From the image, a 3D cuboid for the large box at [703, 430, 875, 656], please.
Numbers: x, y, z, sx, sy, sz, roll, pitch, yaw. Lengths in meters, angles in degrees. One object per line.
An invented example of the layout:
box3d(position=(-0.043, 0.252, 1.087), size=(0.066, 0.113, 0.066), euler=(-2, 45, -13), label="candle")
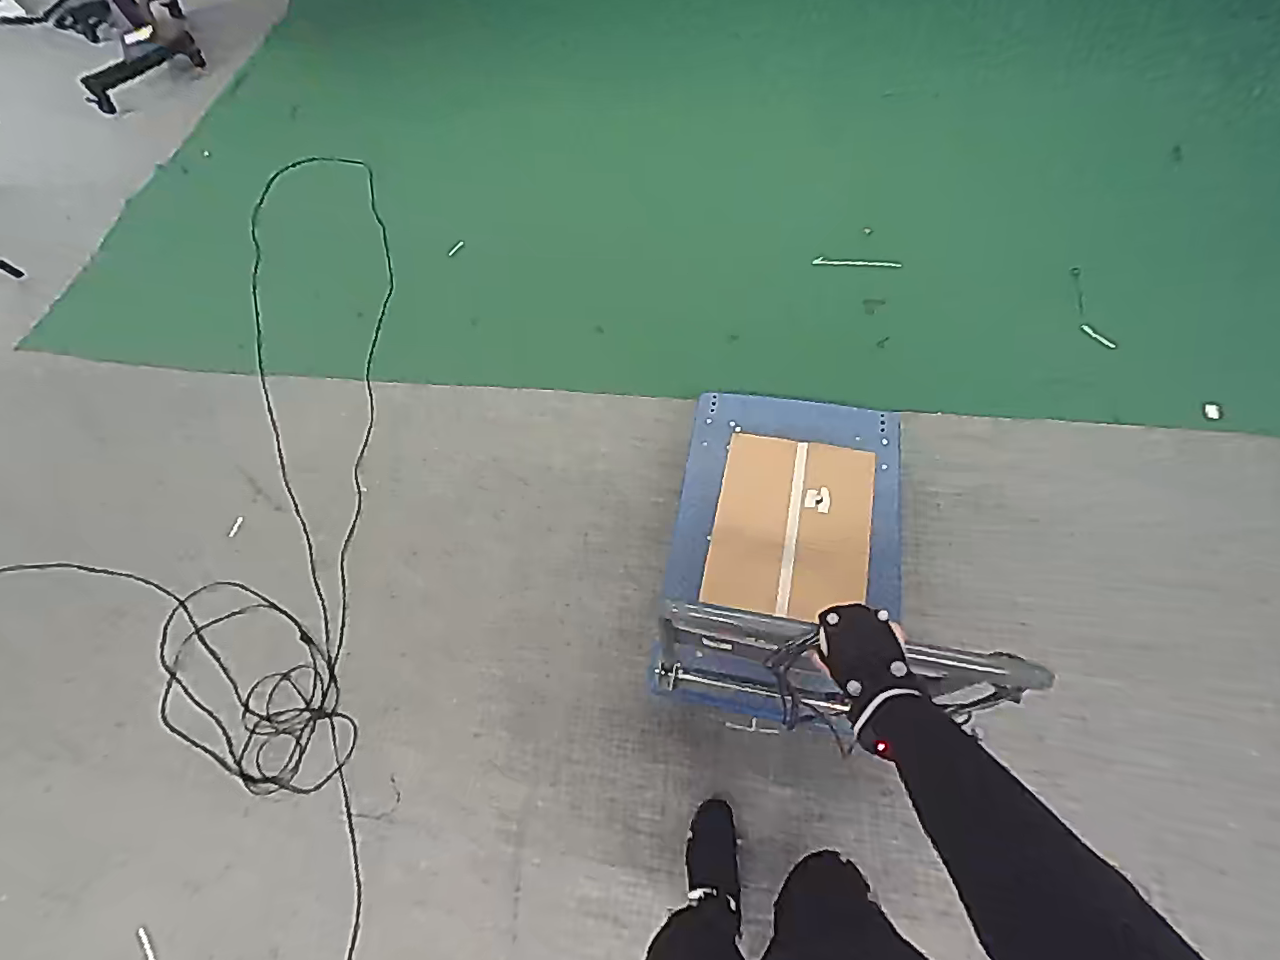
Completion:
box3d(position=(0.328, 0.152, 1.238), size=(0.320, 0.320, 0.408), euler=(10, 65, 10), label="large box")
